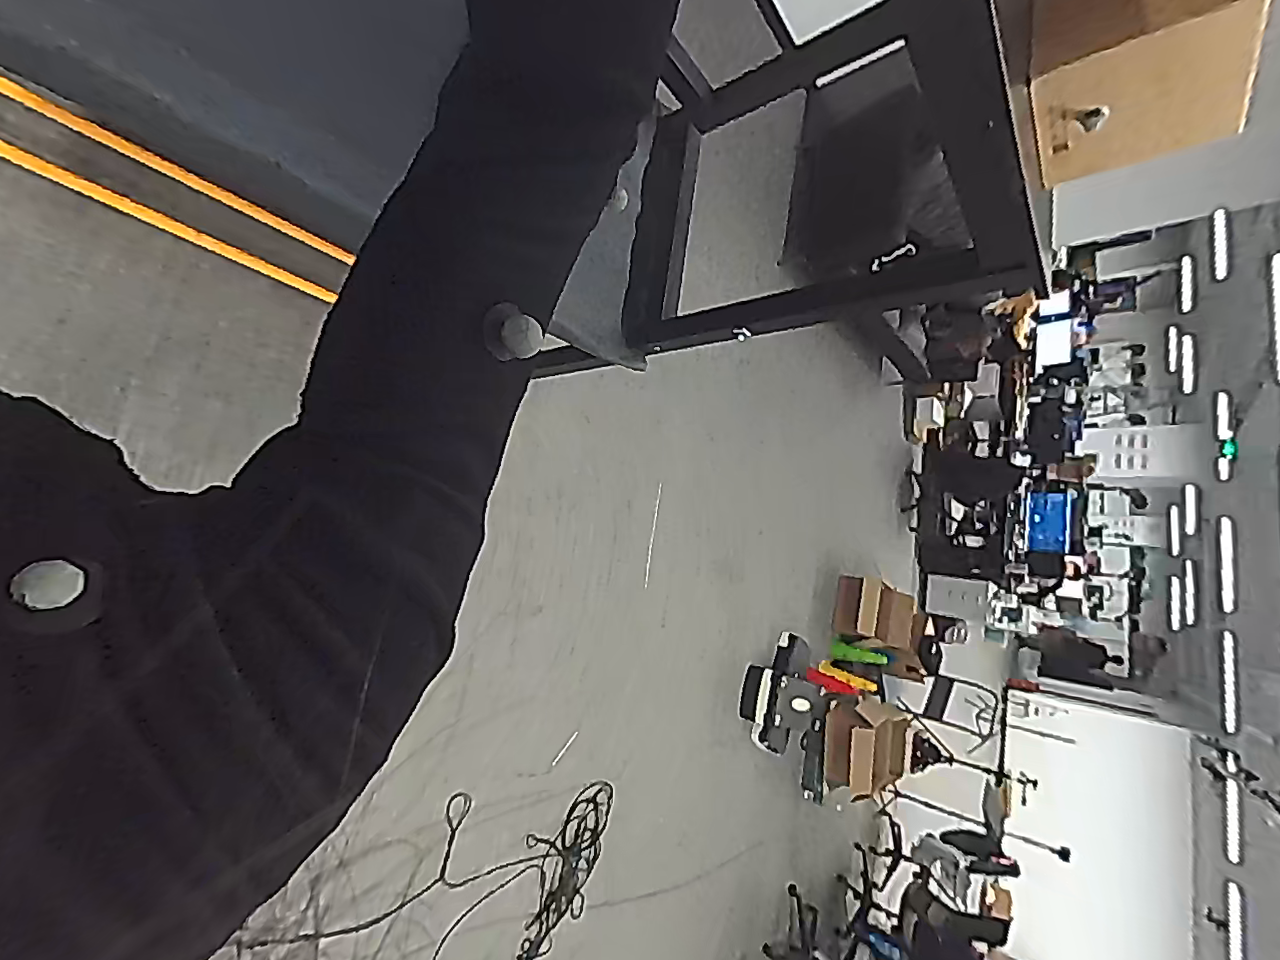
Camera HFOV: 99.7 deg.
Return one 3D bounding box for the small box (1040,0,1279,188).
[{"bbox_3d":[0.536,-0.457,0.574,0.168,0.176,0.179,27,72,-46],"label":"small box"}]
